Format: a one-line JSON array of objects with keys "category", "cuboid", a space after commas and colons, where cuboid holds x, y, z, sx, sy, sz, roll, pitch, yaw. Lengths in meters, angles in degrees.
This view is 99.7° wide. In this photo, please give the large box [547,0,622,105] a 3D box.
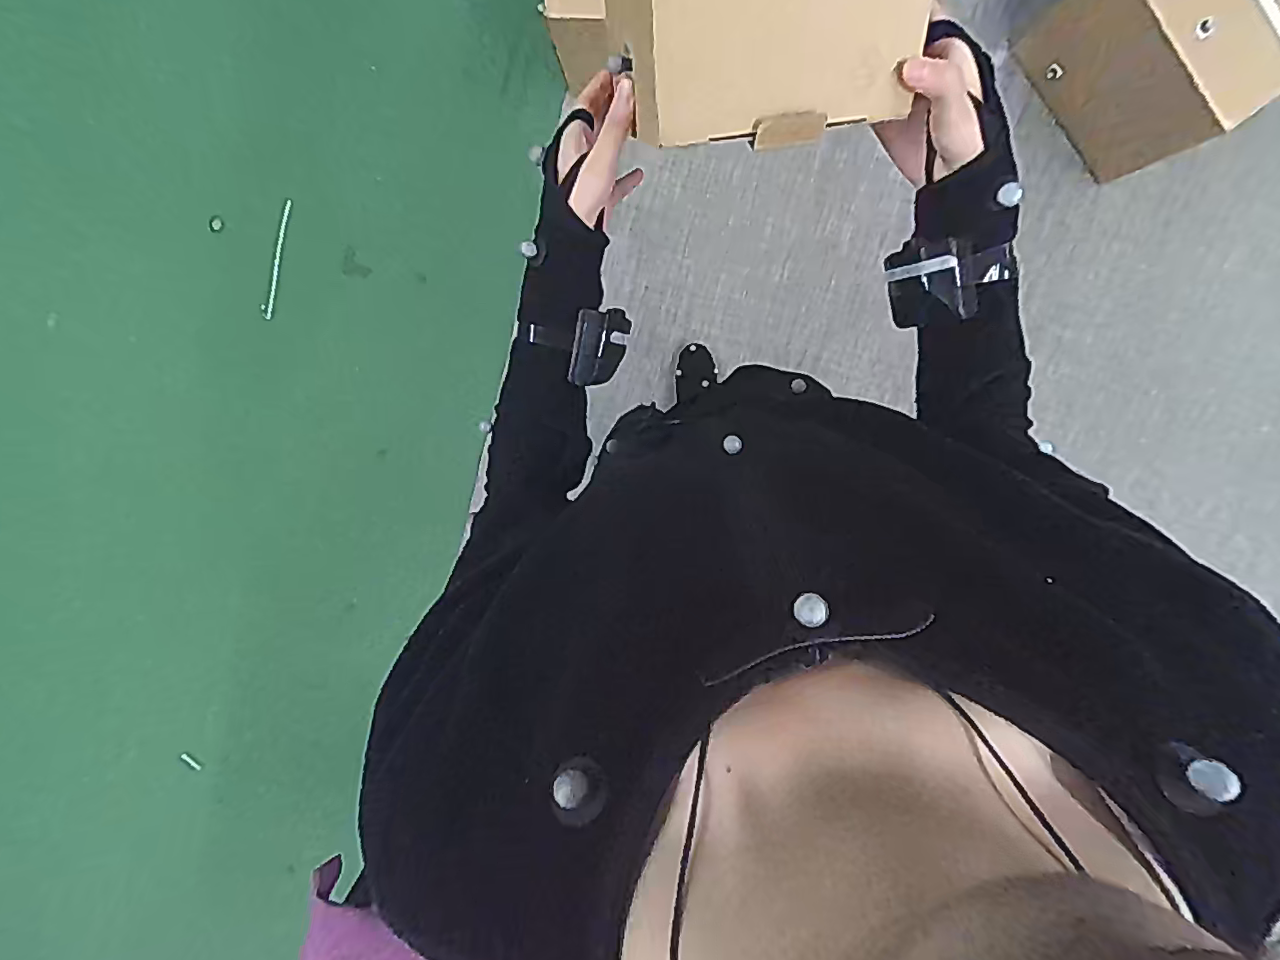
[{"category": "large box", "cuboid": [0.032, -1.053, 1.171, 0.408, 0.320, 0.320, 3, 99, 3]}]

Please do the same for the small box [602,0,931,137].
[{"category": "small box", "cuboid": [0.067, -0.333, 0.340, 0.168, 0.176, 0.179, -11, 127, -6]}]
